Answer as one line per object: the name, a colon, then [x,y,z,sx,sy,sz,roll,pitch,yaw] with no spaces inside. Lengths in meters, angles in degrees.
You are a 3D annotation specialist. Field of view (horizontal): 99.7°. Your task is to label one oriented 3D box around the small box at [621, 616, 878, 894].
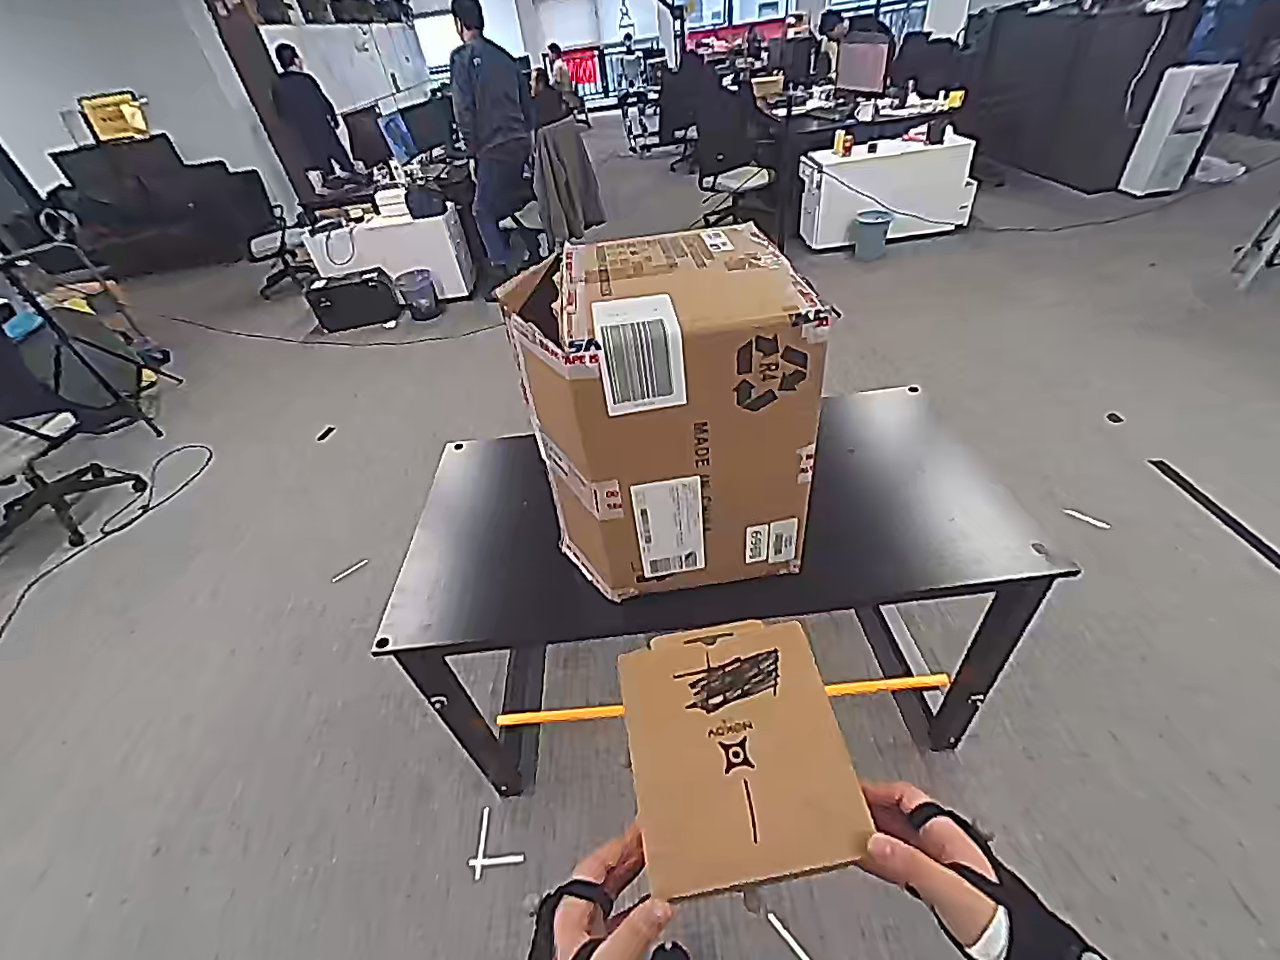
small box: [0.080,0.249,0.486,0.168,0.176,0.179,-10,52,-1]
